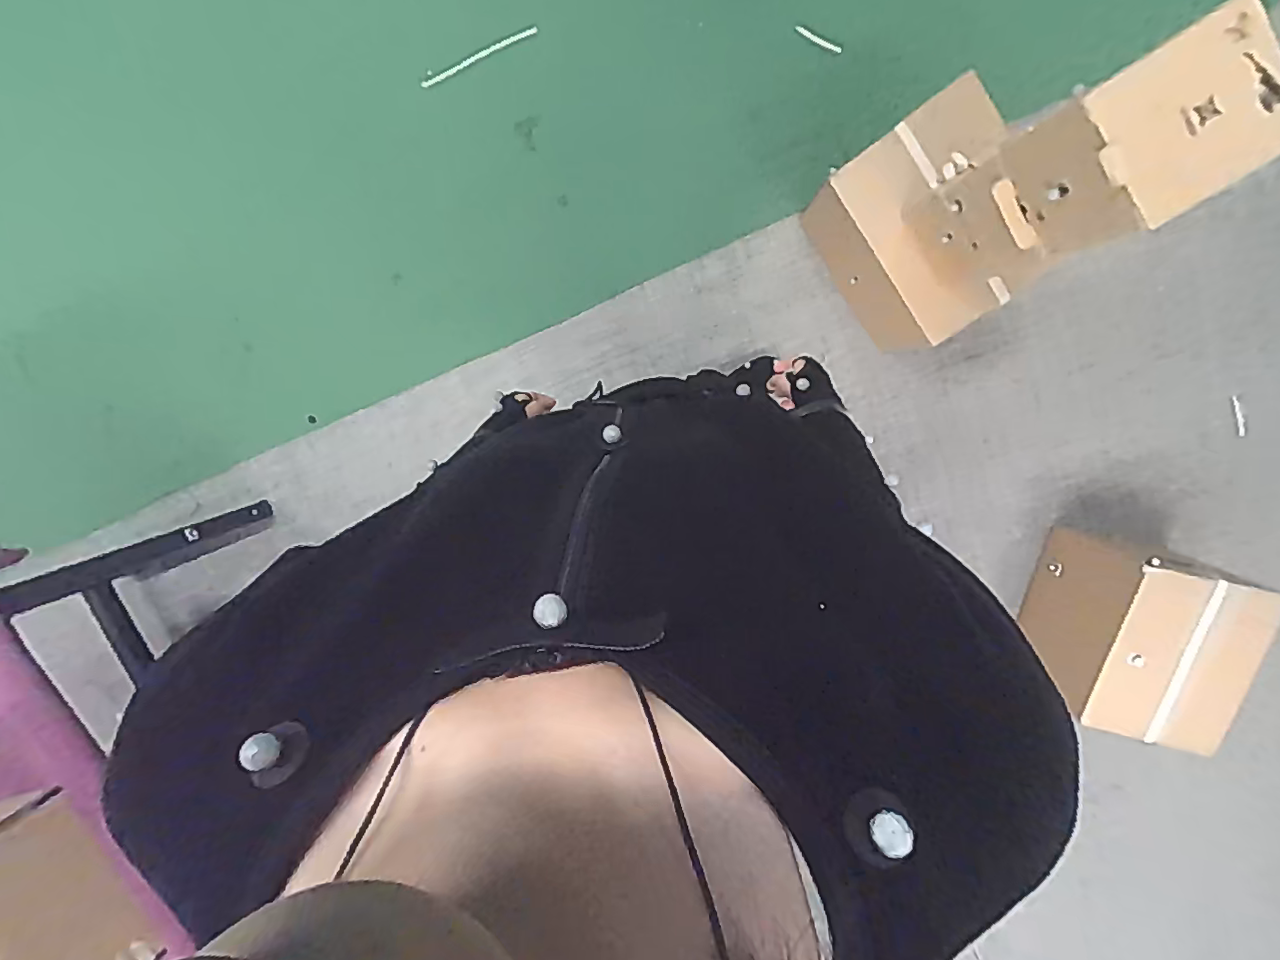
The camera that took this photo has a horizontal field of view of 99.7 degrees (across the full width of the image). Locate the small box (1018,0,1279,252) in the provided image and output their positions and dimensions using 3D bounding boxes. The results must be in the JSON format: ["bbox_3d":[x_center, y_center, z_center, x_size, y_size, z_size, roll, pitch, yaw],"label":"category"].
[{"bbox_3d":[0.597,-0.401,0.645,0.179,0.176,0.168,-31,98,13],"label":"small box"}]

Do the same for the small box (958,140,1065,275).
[{"bbox_3d":[0.612,-0.430,0.806,0.179,0.176,0.168,-30,98,11],"label":"small box"}]

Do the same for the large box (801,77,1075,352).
[{"bbox_3d":[0.623,-0.541,1.201,0.320,0.320,0.408,-35,95,10],"label":"large box"}]

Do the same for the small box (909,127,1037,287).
[{"bbox_3d":[0.618,-0.470,0.965,0.168,0.176,0.179,-31,98,12],"label":"small box"}]
